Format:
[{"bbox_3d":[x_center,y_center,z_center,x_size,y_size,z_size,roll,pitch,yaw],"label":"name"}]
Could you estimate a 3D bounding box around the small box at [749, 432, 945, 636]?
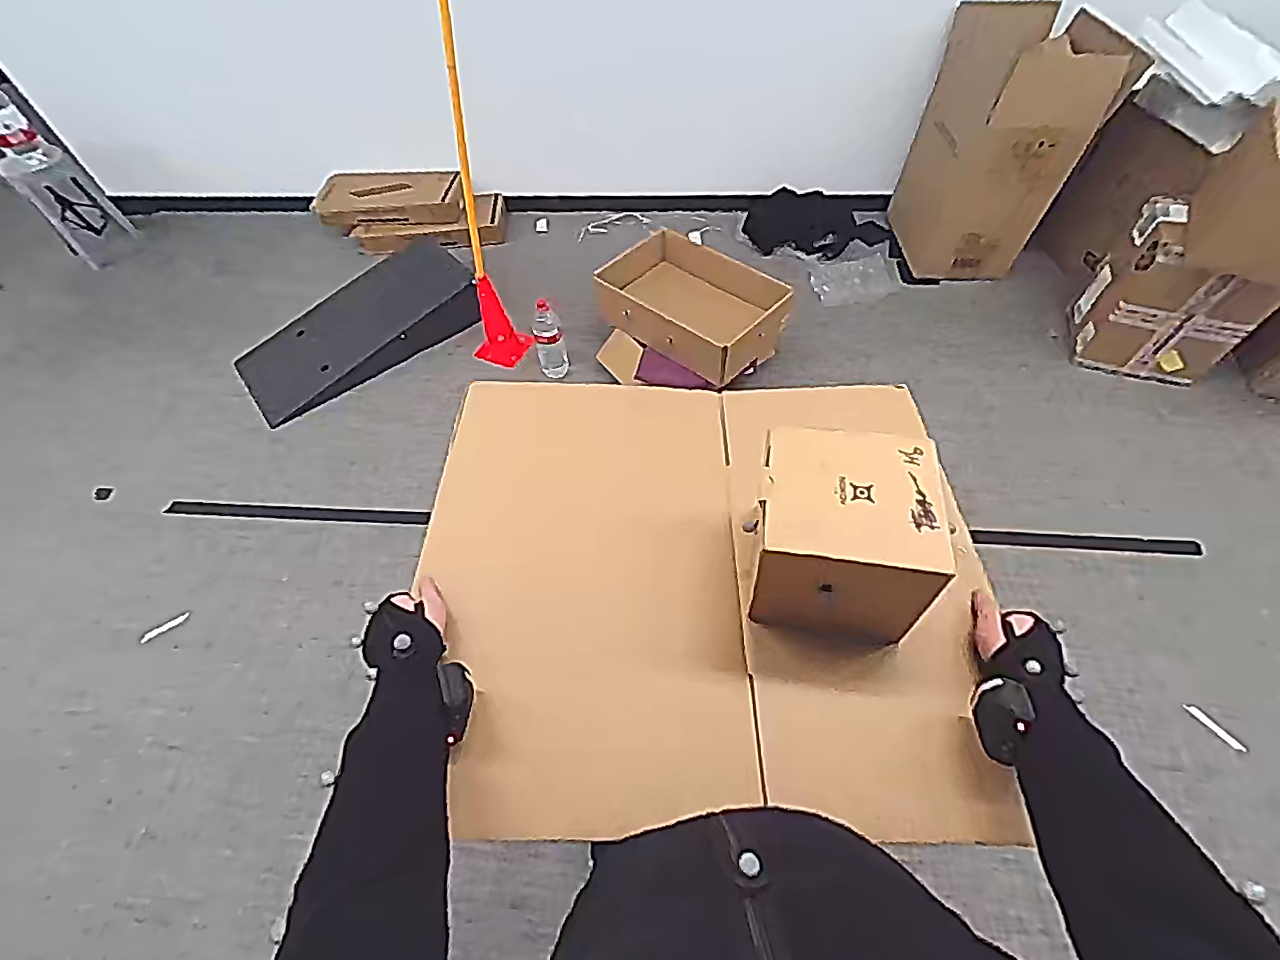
[{"bbox_3d":[0.221,0.065,0.623,0.179,0.176,0.168,6,54,11],"label":"small box"}]
